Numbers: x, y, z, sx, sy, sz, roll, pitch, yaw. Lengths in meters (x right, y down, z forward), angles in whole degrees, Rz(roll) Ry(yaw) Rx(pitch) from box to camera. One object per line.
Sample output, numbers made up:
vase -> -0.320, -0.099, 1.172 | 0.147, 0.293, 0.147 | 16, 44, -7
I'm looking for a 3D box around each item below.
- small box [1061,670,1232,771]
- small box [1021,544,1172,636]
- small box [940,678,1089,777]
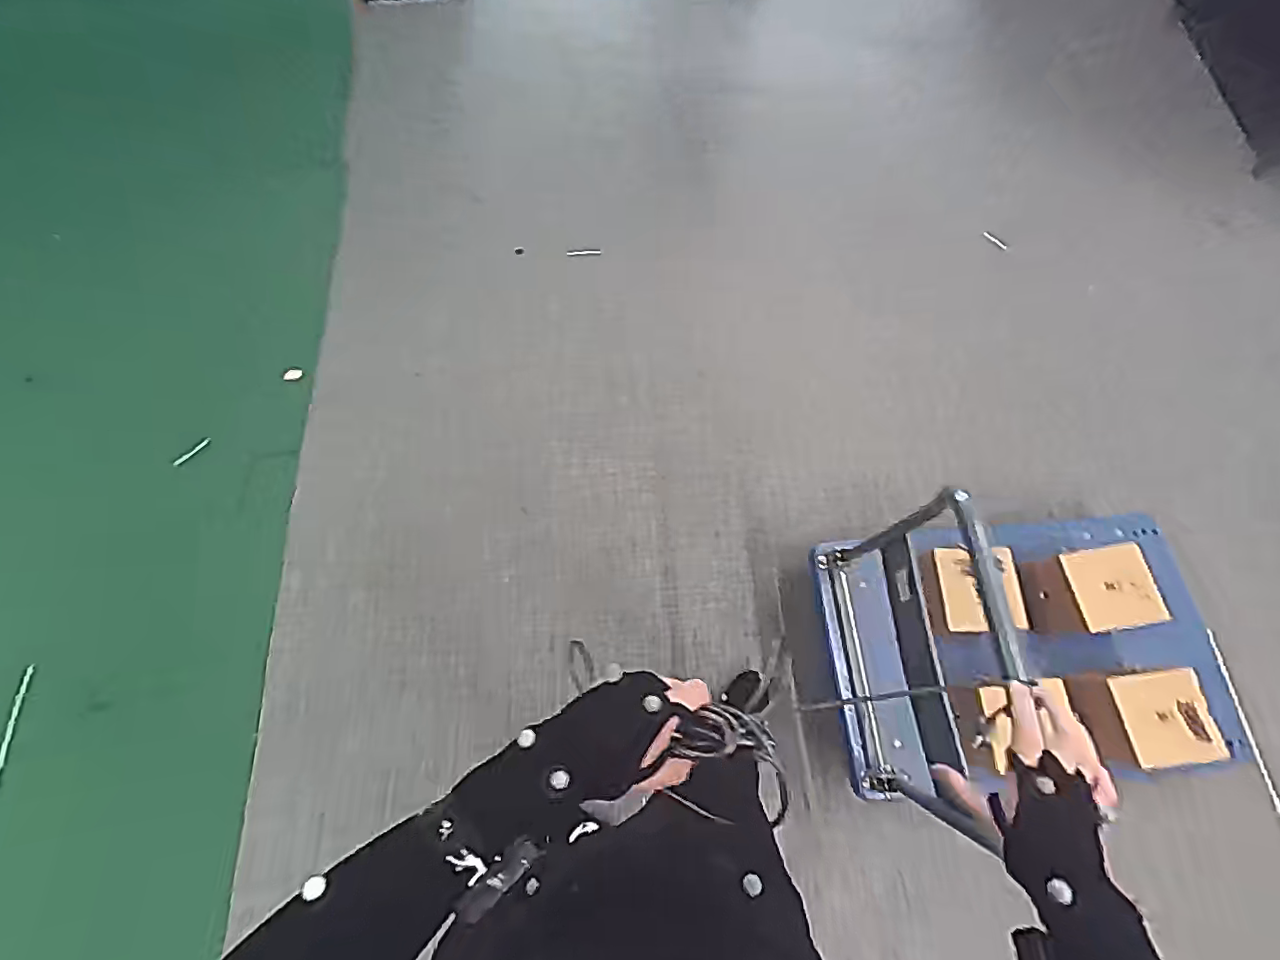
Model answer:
small box -> 1.033, 0.492, 1.126 | 0.179, 0.176, 0.168 | -7, 70, 0
small box -> 1.000, 0.251, 1.210 | 0.179, 0.176, 0.168 | -9, 71, -1
small box -> 0.769, 0.510, 1.131 | 0.179, 0.176, 0.168 | -5, 71, 1
